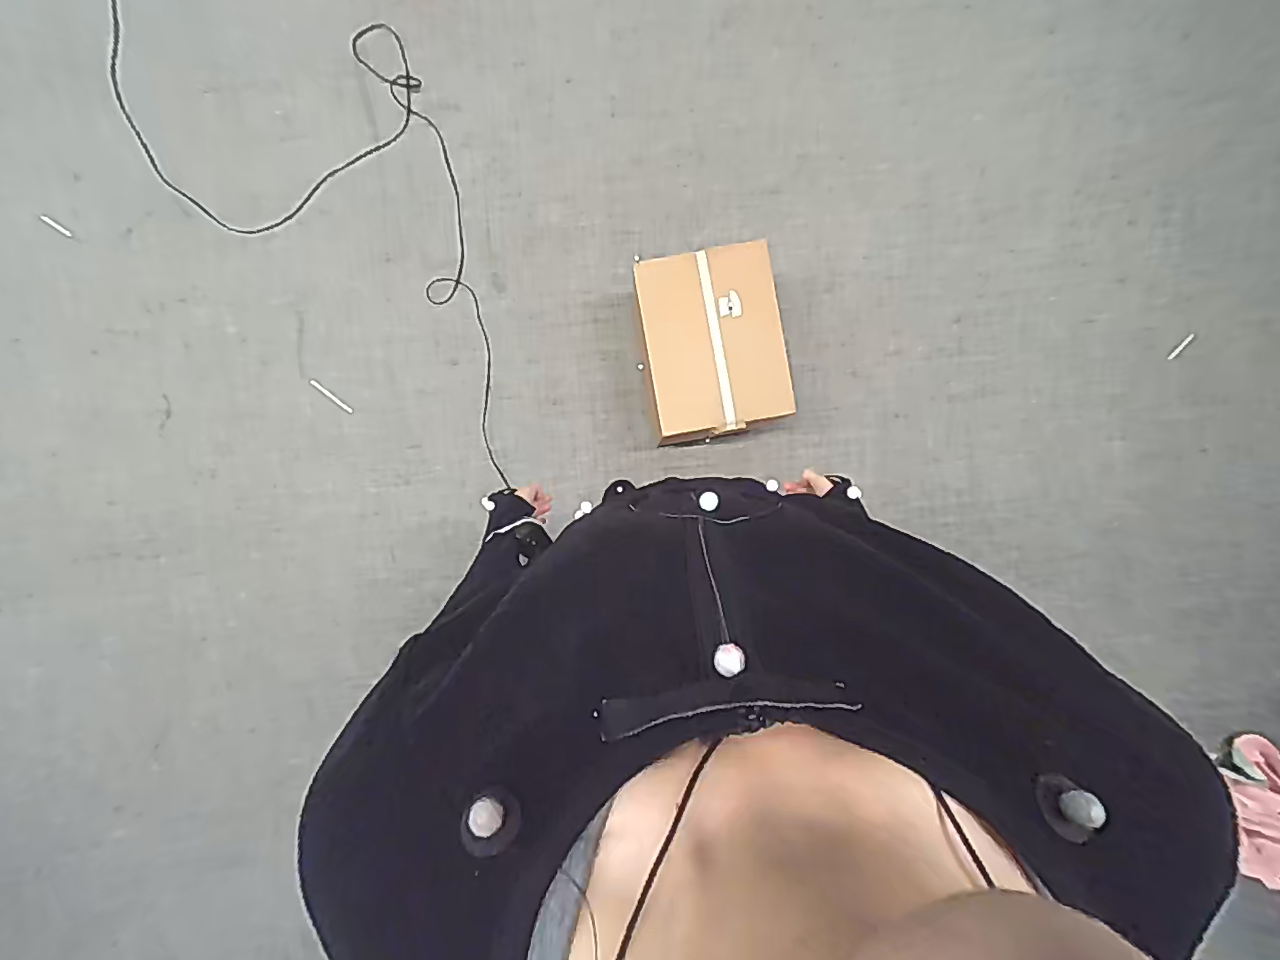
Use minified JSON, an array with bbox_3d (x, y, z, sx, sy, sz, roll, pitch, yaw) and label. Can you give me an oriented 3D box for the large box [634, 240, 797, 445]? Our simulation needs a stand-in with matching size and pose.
[{"bbox_3d":[0.172,-0.323,1.375,0.320,0.320,0.408,-10,88,-1],"label":"large box"}]
